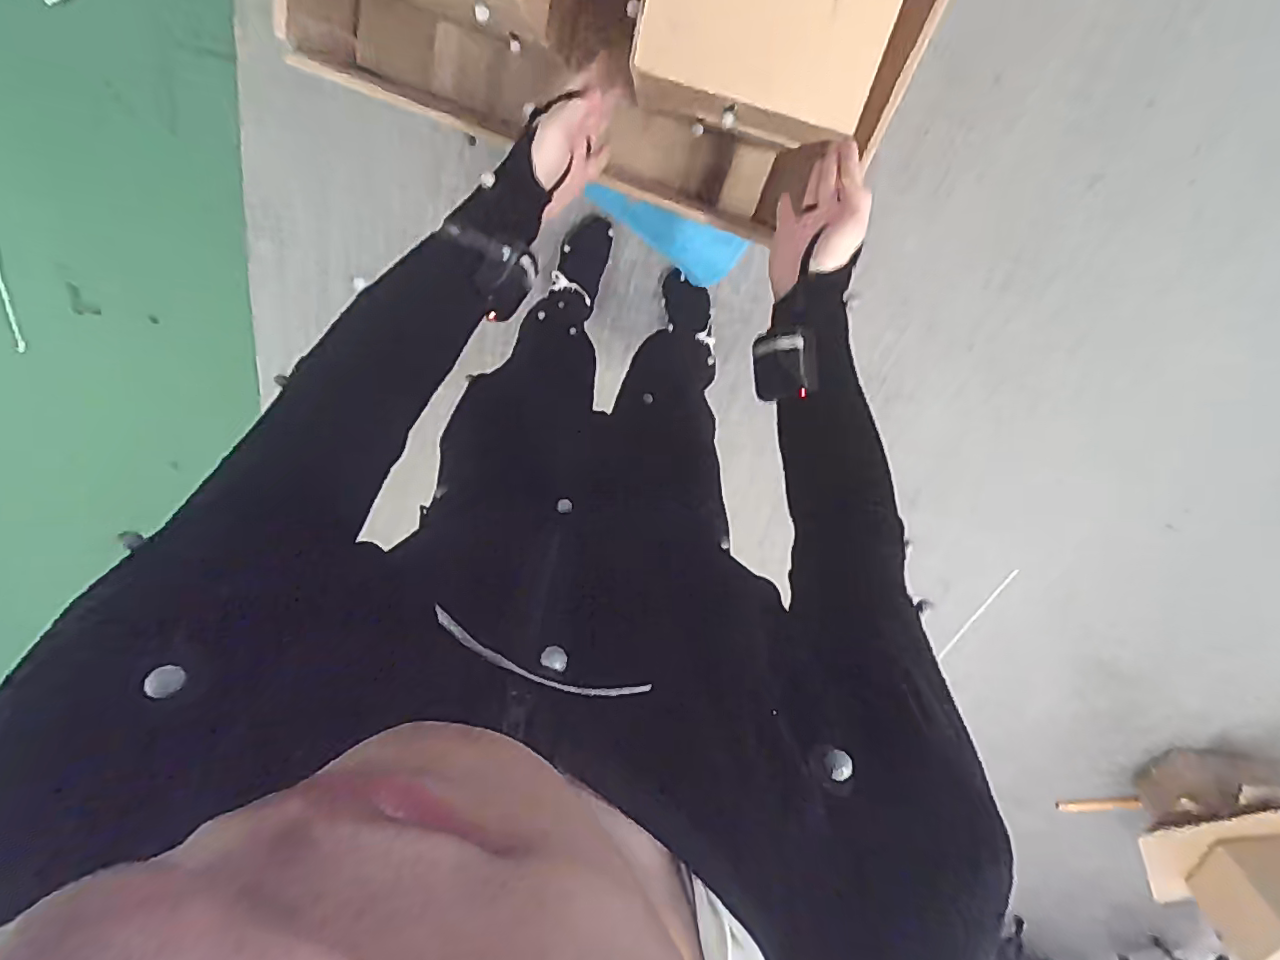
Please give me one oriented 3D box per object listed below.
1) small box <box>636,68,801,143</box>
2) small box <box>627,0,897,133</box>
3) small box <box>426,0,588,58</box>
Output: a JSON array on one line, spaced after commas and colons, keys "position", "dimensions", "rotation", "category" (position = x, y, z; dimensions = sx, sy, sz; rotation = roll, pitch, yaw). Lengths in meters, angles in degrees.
[{"position": [0.104, -0.472, 0.570], "dimensions": [0.179, 0.176, 0.168], "rotation": [15, 120, -5], "category": "small box"}, {"position": [0.097, -0.391, 0.429], "dimensions": [0.179, 0.176, 0.168], "rotation": [13, 120, -6], "category": "small box"}, {"position": [-0.138, -0.553, 0.536], "dimensions": [0.179, 0.176, 0.168], "rotation": [16, 120, -9], "category": "small box"}]
